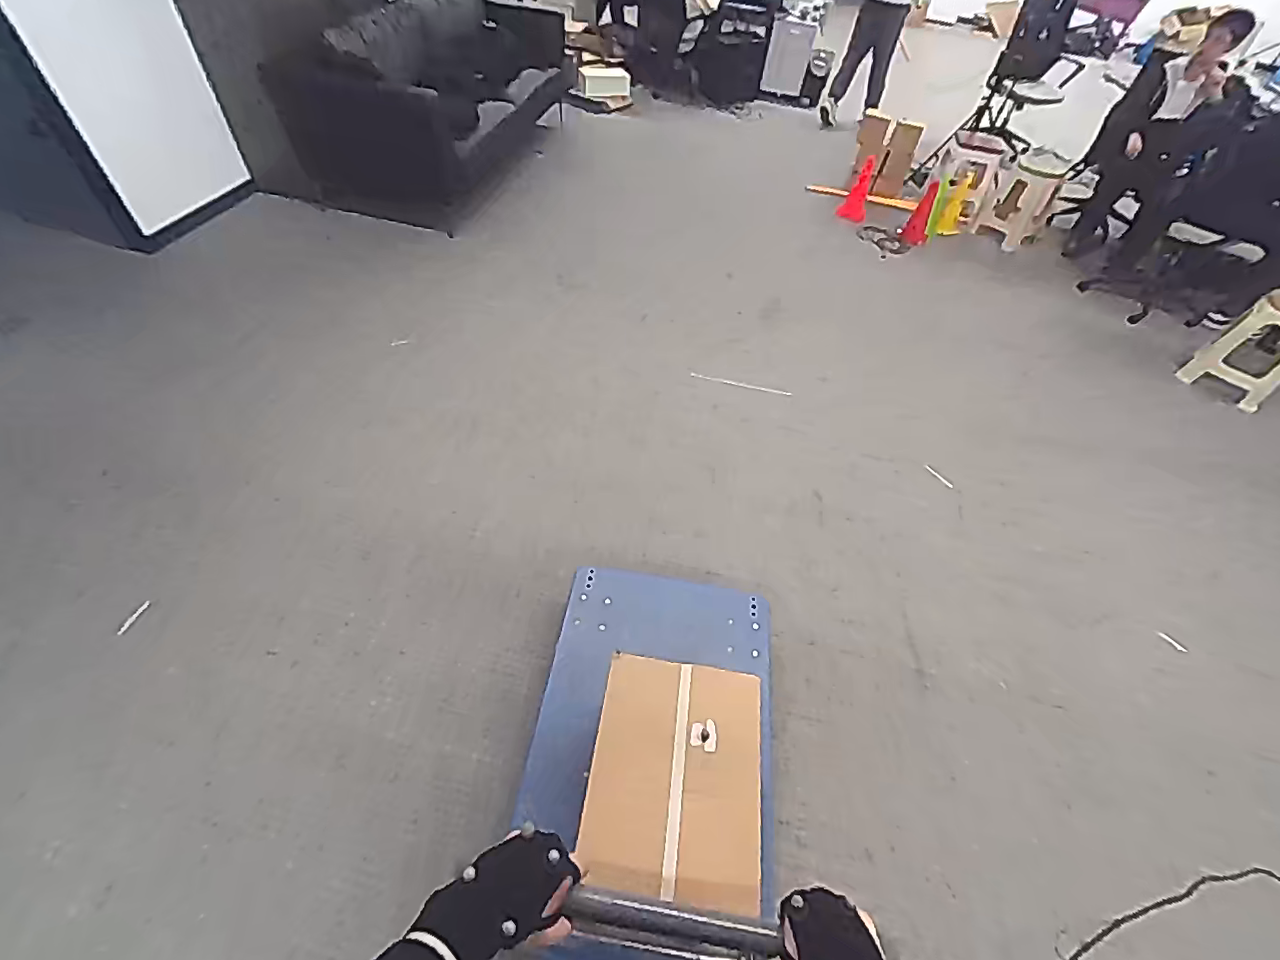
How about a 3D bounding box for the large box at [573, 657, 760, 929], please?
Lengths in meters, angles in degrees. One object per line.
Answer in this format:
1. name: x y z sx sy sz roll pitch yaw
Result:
1. large box: 0.052 0.638 1.110 0.320 0.320 0.408 9 47 1
